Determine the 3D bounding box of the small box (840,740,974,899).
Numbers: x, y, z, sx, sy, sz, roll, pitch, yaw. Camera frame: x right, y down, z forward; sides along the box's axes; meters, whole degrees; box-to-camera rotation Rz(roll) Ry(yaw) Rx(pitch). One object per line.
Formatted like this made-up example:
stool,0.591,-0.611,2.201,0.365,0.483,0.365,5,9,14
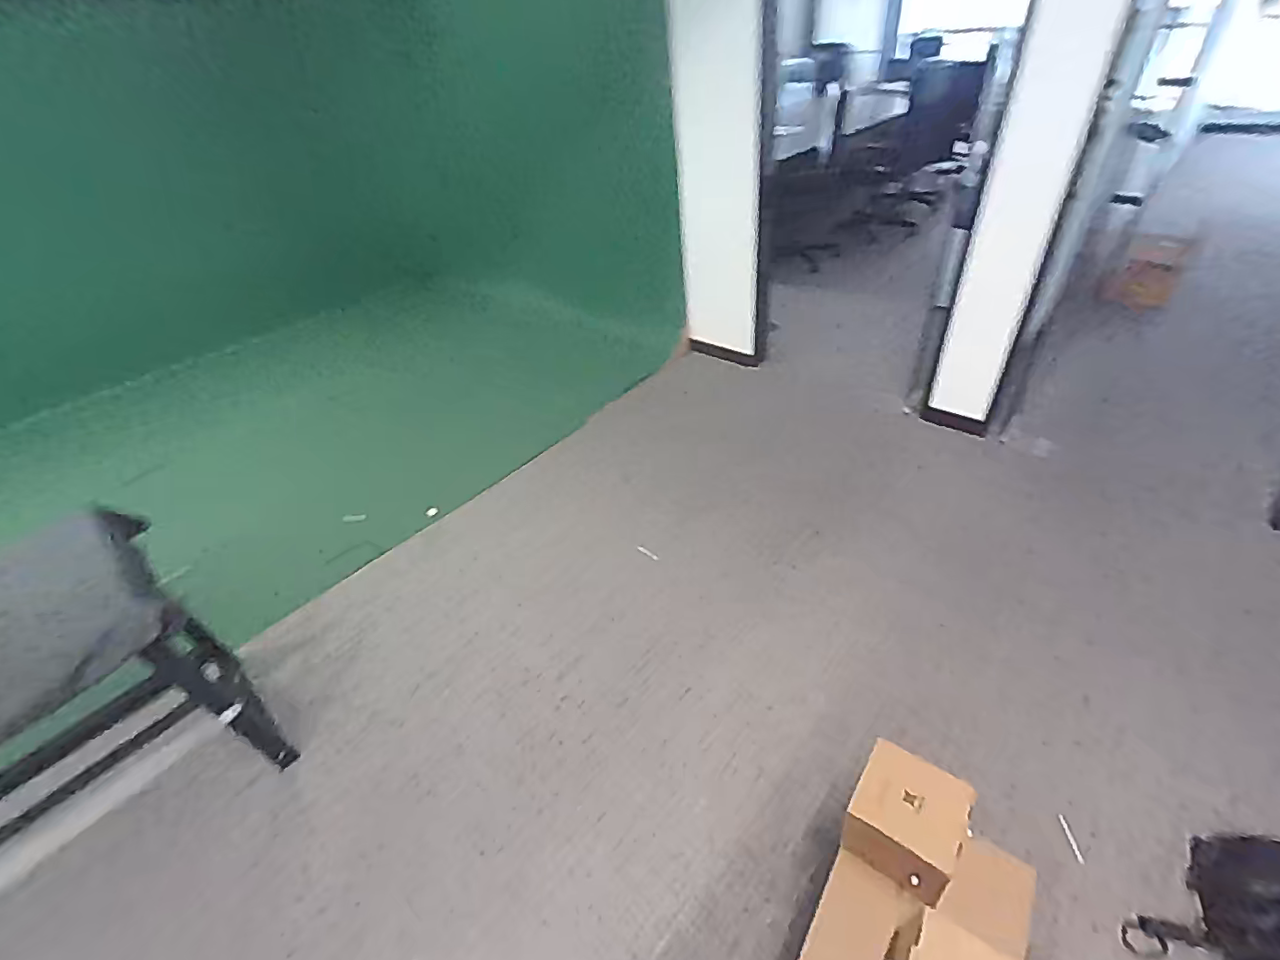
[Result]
small box,0.494,0.640,1.016,0.179,0.176,0.168,19,45,35

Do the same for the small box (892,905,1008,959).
small box,0.475,0.805,0.817,0.179,0.176,0.168,21,47,29
